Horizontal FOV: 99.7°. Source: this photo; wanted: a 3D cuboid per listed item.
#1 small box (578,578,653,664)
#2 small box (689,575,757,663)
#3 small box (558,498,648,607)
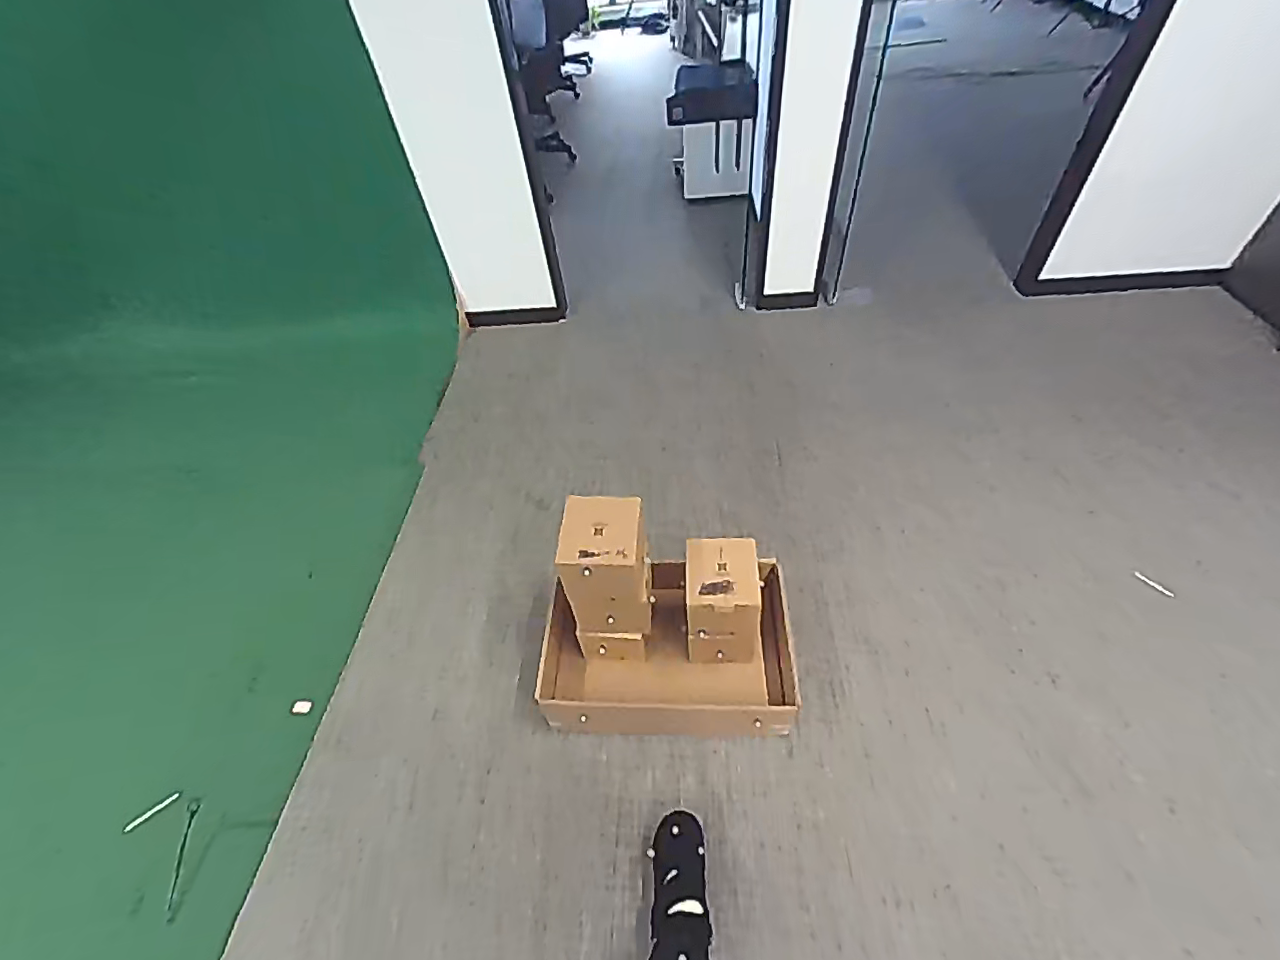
[{"bbox_3d":[-0.057,0.375,1.443,0.168,0.176,0.179,2,50,7],"label":"small box"},{"bbox_3d":[0.215,0.368,1.416,0.168,0.176,0.179,-2,50,6],"label":"small box"},{"bbox_3d":[-0.073,0.160,1.195,0.168,0.176,0.179,1,49,6],"label":"small box"}]
